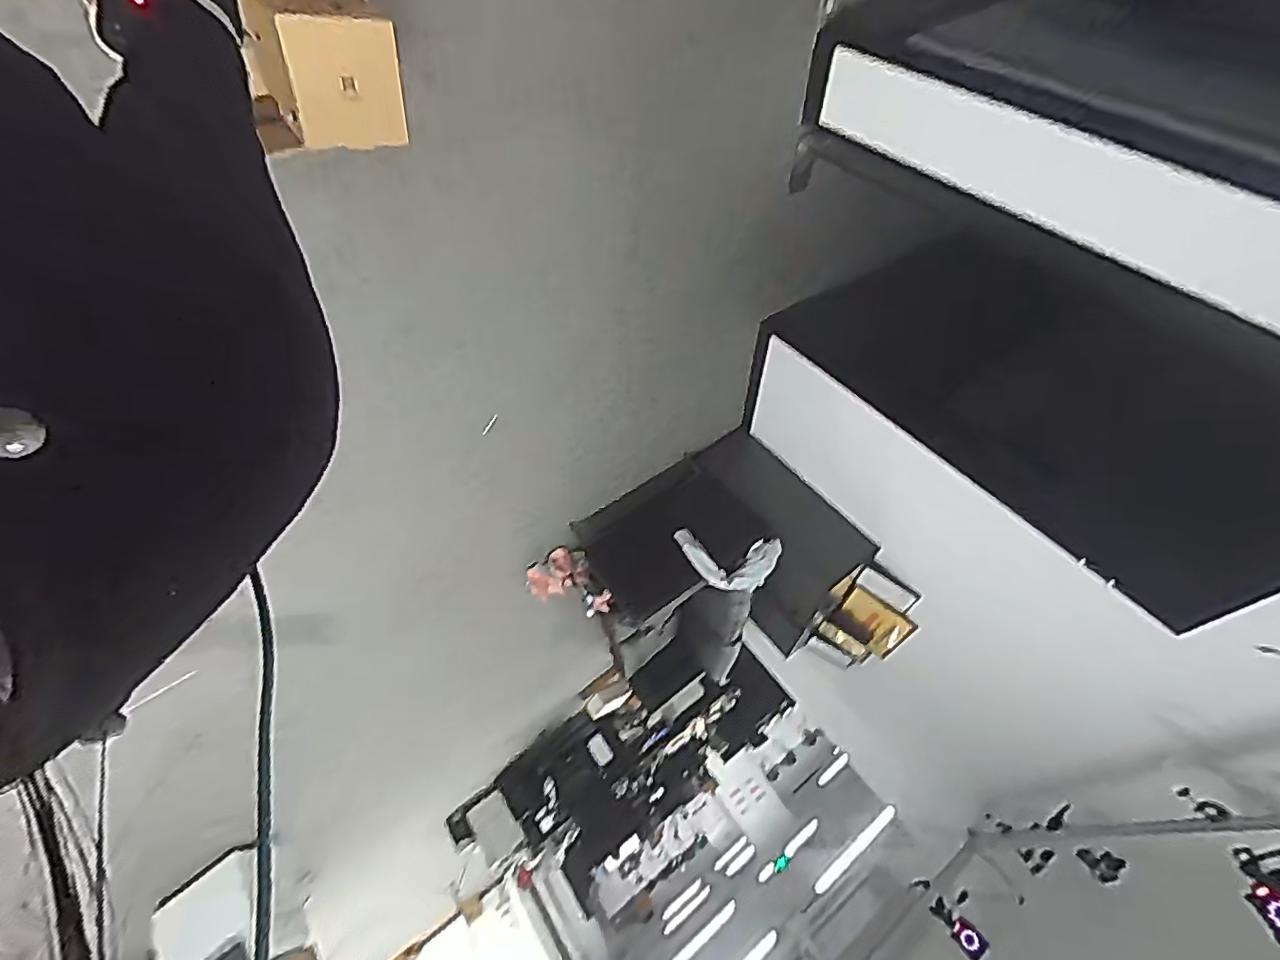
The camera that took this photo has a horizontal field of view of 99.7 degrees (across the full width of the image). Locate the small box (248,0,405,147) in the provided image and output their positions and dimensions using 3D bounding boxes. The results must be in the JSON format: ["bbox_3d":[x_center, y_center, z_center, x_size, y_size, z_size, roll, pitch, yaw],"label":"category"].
[{"bbox_3d":[-0.513,-0.677,0.892,0.168,0.176,0.179,-23,147,-29],"label":"small box"}]
